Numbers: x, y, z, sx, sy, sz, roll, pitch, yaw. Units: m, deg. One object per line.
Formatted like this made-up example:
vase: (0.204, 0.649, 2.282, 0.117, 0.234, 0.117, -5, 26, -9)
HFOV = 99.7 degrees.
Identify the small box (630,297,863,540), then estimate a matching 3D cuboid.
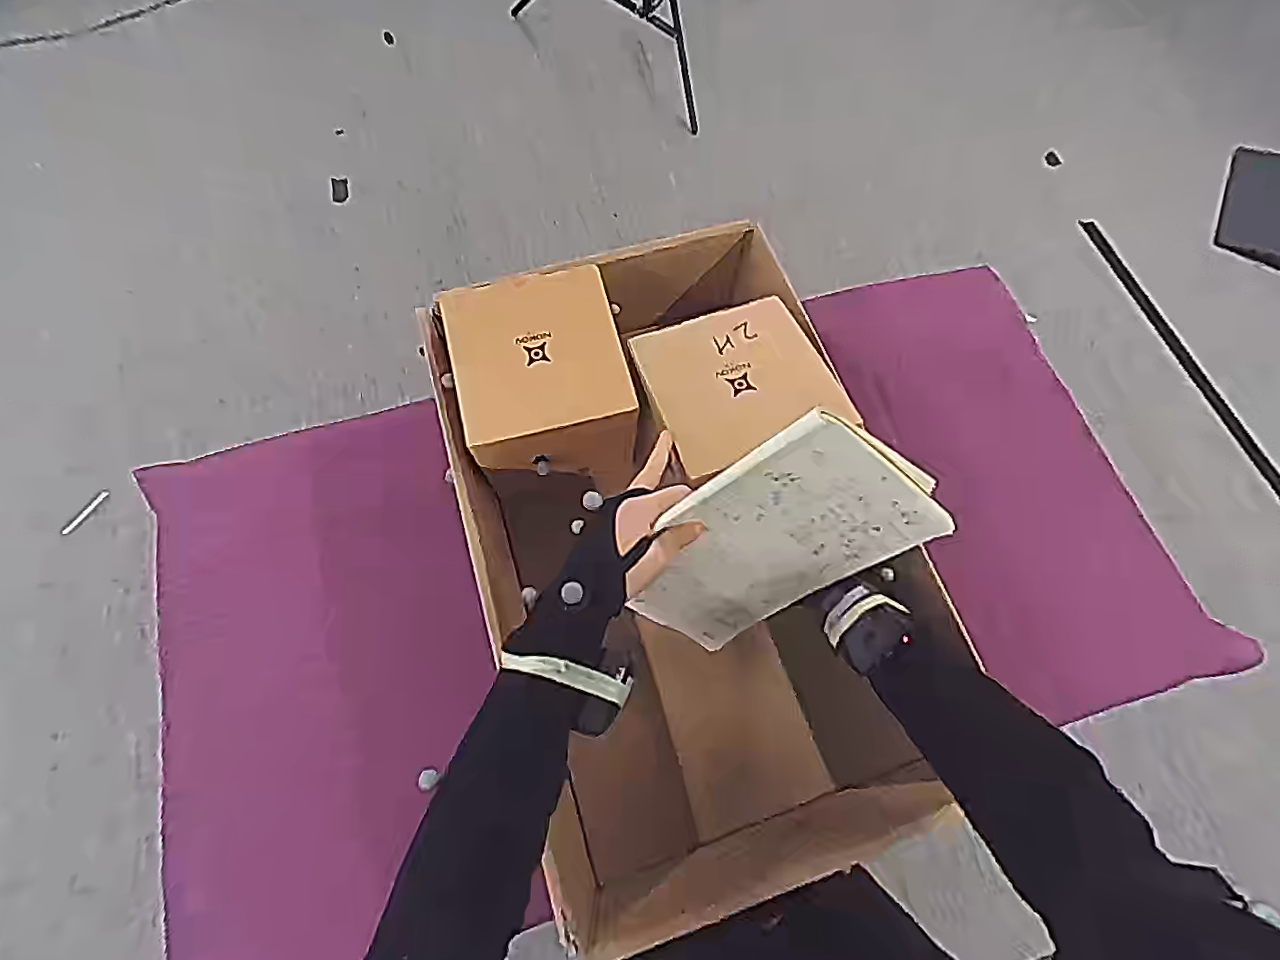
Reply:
small box: (0.099, -0.053, 0.574, 0.168, 0.176, 0.179, -19, 61, -7)
